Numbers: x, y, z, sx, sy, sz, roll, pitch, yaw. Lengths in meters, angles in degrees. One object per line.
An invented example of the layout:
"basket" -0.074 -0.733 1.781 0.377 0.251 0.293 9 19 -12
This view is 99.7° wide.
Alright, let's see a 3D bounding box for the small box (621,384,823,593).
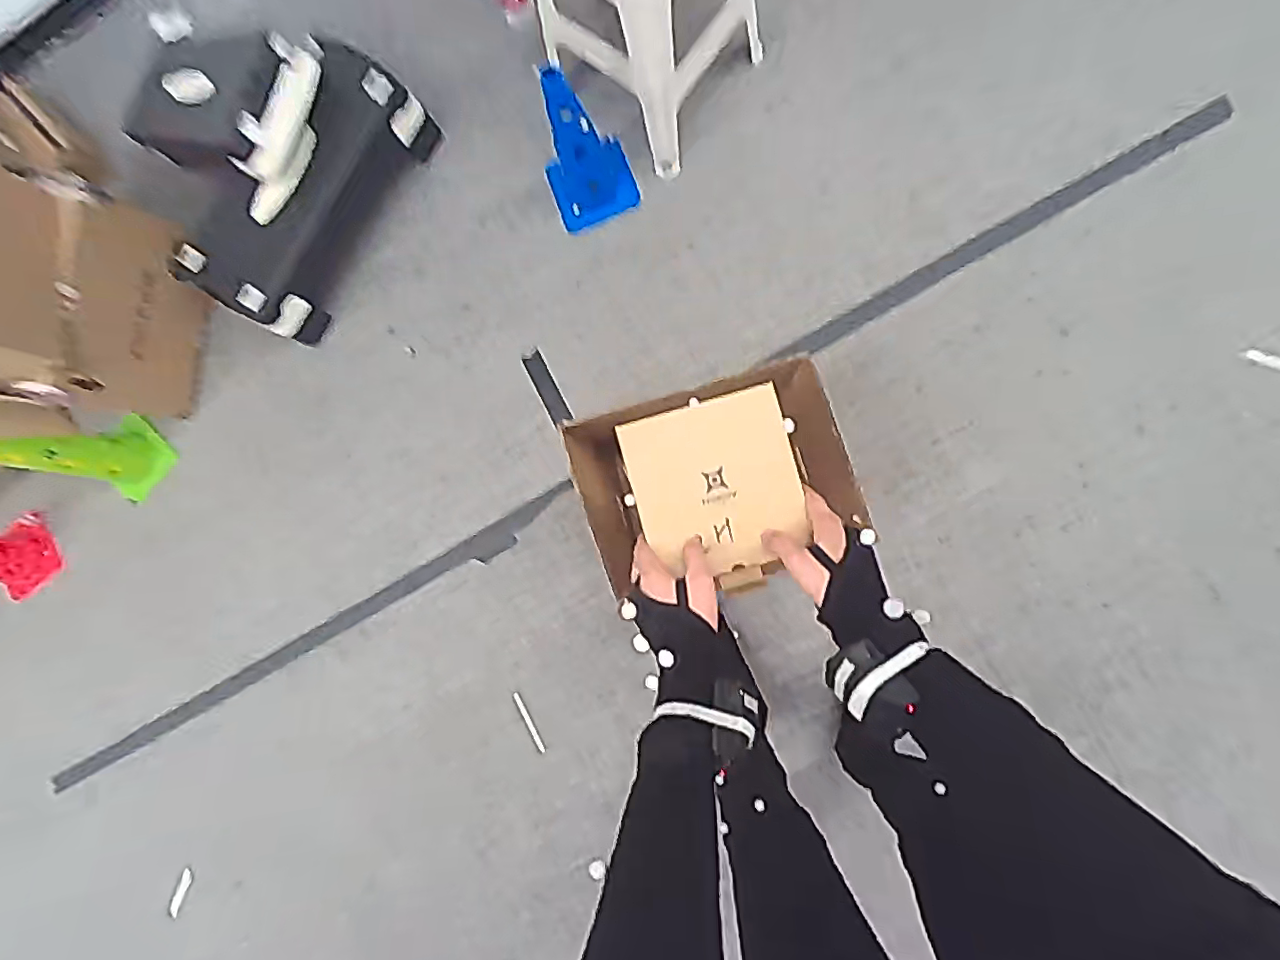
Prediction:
"small box" 0.083 0.009 0.608 0.168 0.176 0.179 -15 90 5
